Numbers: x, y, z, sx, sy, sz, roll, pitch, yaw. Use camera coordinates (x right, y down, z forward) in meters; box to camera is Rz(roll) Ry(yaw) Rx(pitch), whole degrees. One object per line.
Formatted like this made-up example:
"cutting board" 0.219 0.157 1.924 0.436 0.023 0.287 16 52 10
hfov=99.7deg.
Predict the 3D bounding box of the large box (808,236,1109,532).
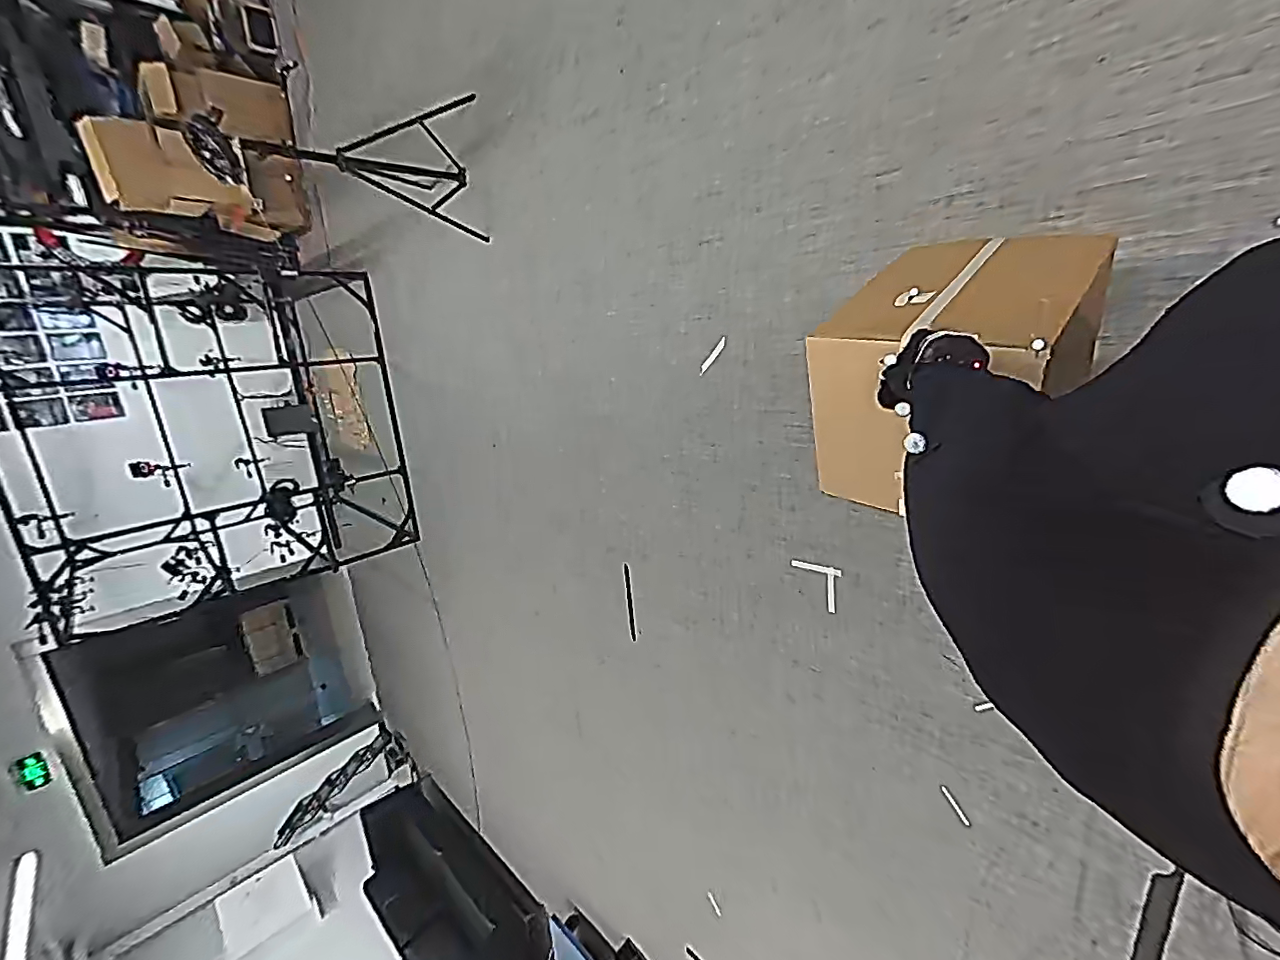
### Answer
"large box" 0.535 -0.183 0.926 0.320 0.408 0.320 18 139 43
